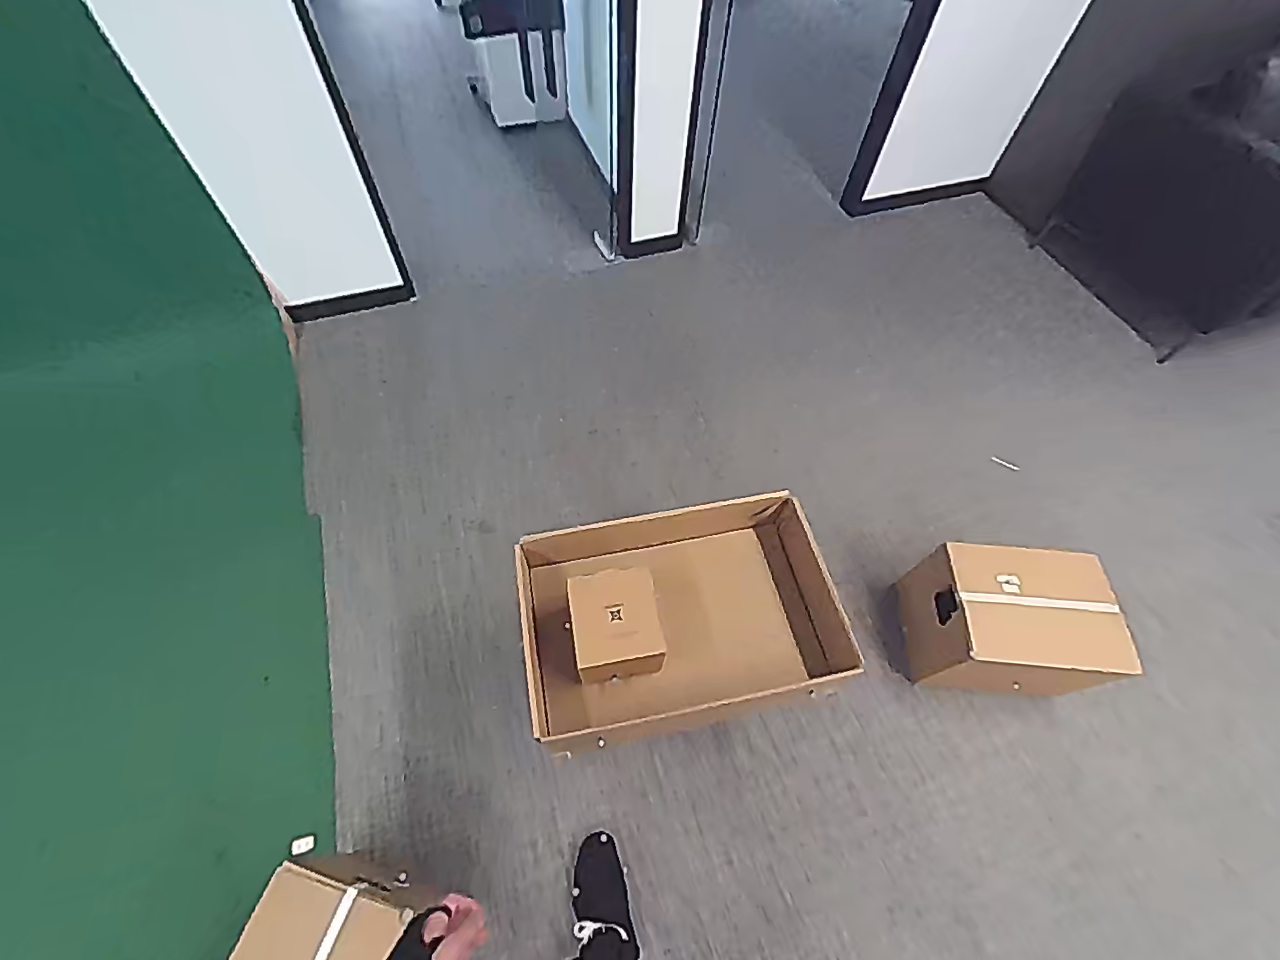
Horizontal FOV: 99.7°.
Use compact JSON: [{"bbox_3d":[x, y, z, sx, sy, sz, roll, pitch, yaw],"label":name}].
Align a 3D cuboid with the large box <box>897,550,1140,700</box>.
[{"bbox_3d":[0.984,0.403,1.471,0.408,0.320,0.320,4,57,1],"label":"large box"}]
